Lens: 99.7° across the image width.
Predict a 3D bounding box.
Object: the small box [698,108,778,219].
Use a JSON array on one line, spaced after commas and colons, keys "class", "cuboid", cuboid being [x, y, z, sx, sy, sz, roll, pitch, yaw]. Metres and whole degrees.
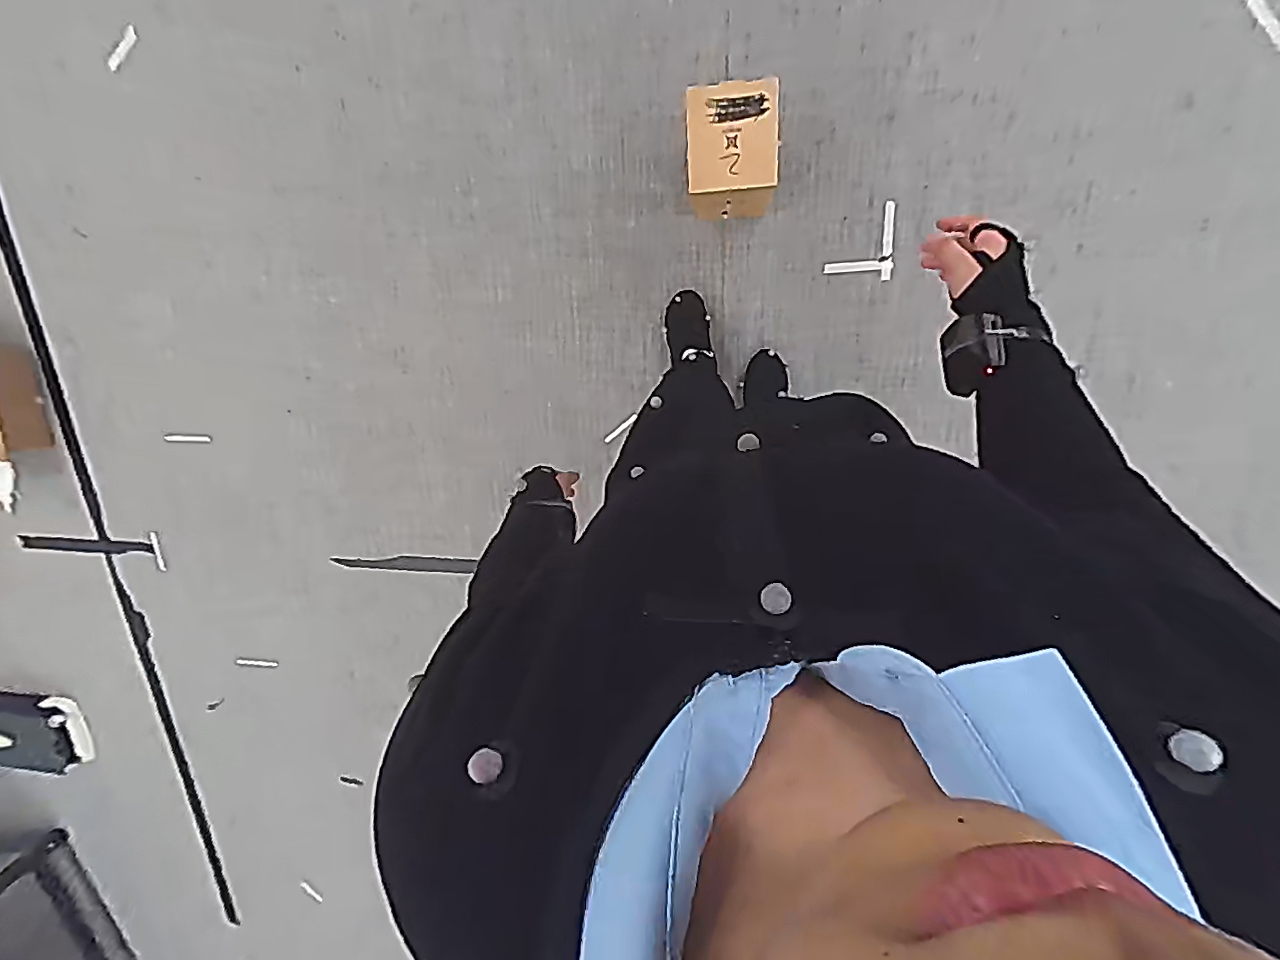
[{"class": "small box", "cuboid": [0.214, -0.699, 1.211, 0.168, 0.176, 0.179, -1, 107, 8]}]
